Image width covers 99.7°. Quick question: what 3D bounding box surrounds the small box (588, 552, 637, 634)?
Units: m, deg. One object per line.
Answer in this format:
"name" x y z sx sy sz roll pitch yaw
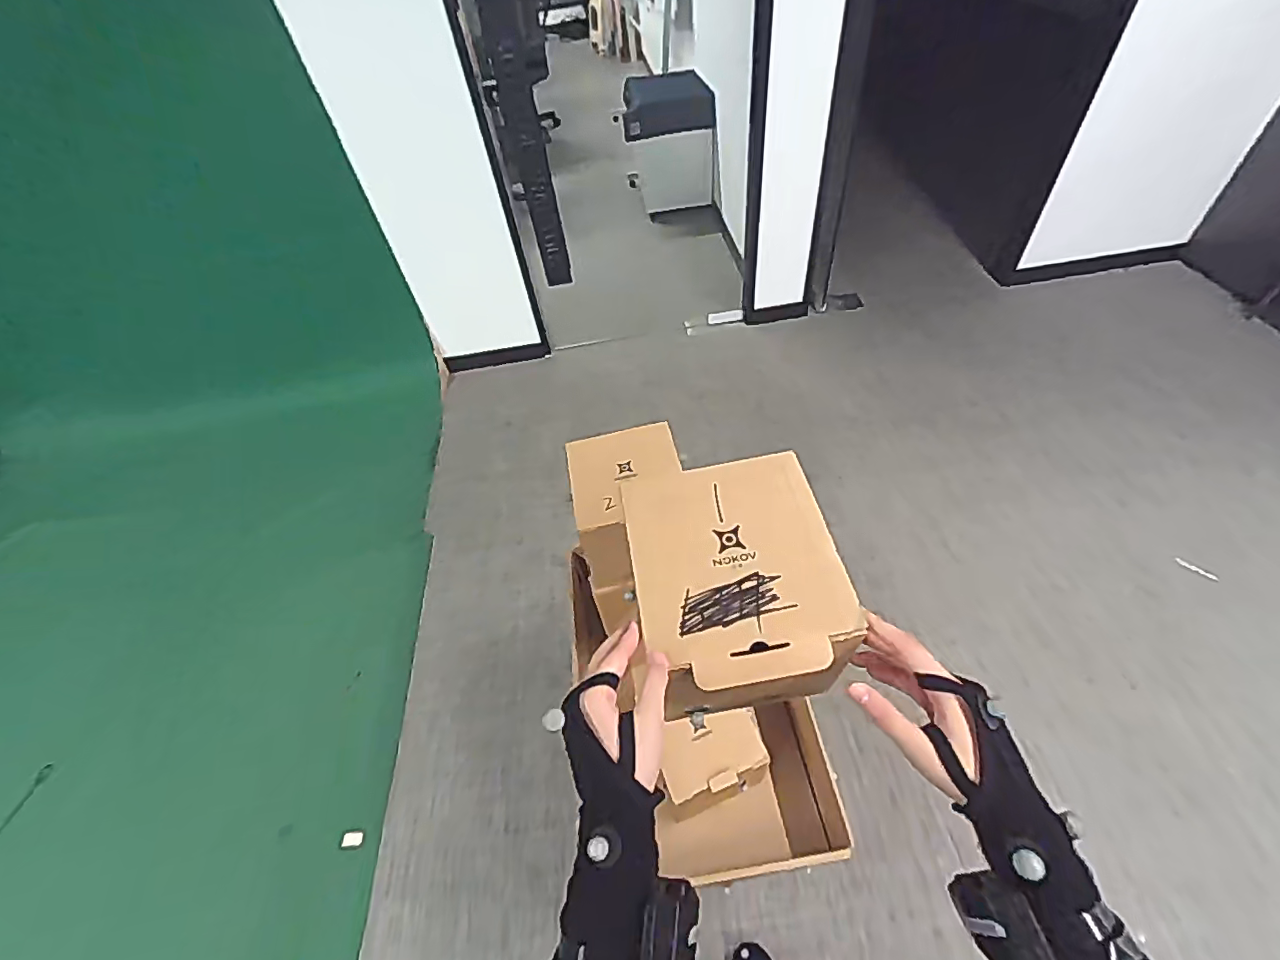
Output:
"small box" 0.005 0.156 0.982 0.179 0.176 0.168 -14 50 -2

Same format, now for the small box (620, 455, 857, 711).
"small box" 0.080 0.105 0.511 0.168 0.176 0.179 -10 53 0

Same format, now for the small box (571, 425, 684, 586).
"small box" -0.009 0.043 0.863 0.168 0.176 0.179 -12 50 -1

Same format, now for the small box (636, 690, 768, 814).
"small box" 0.105 0.452 0.936 0.168 0.176 0.179 -19 50 -9
